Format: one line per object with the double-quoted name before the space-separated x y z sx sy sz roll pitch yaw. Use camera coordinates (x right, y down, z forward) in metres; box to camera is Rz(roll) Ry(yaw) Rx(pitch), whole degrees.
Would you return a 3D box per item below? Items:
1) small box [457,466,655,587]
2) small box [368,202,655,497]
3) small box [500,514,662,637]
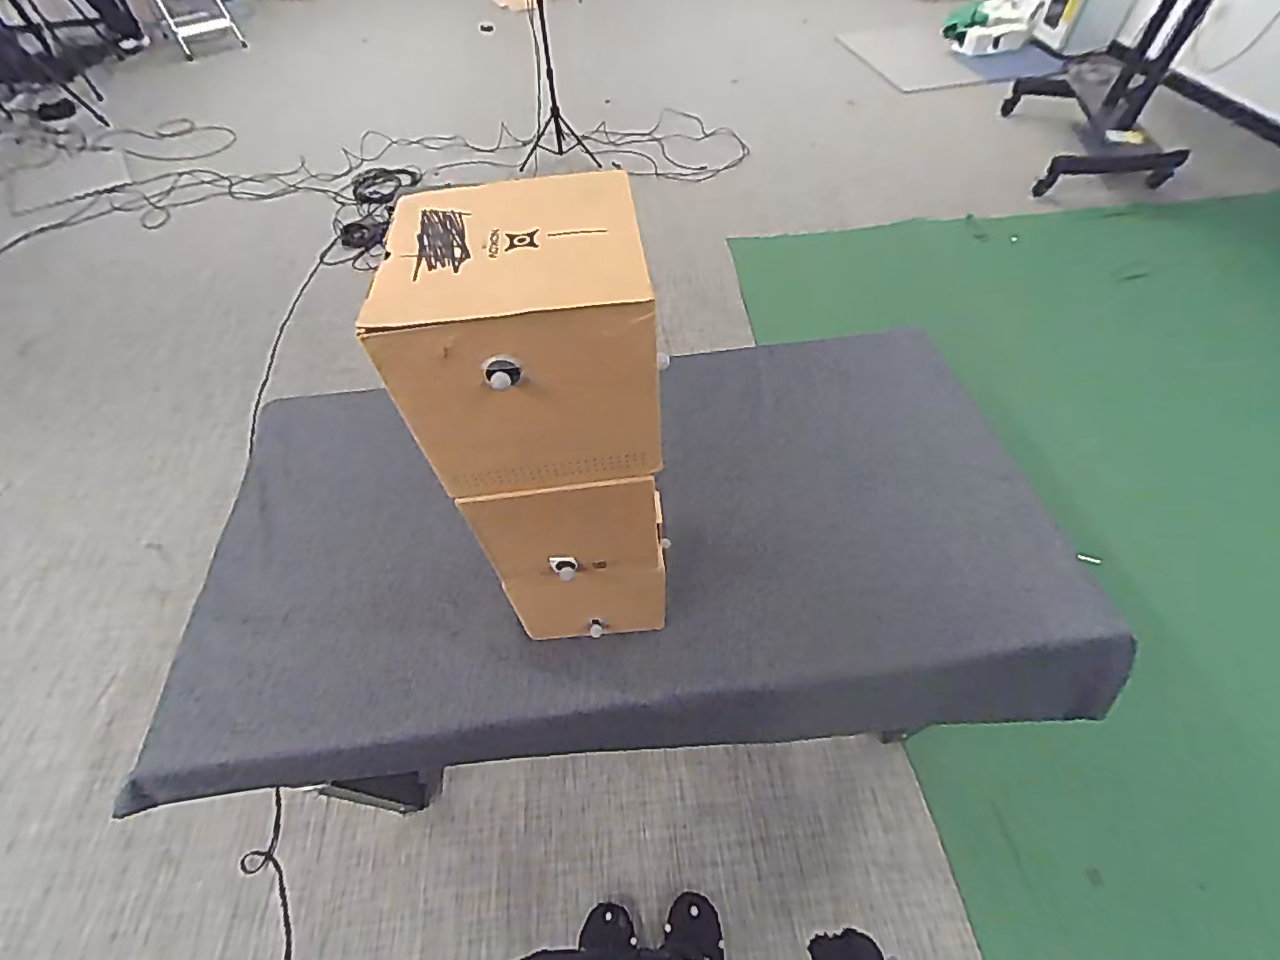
"small box" -0.076 -0.011 0.562 0.168 0.176 0.179 -8 55 -1
"small box" -0.084 -0.097 0.442 0.179 0.176 0.168 -6 54 -2
"small box" -0.069 0.088 0.690 0.179 0.176 0.168 -5 53 -2
